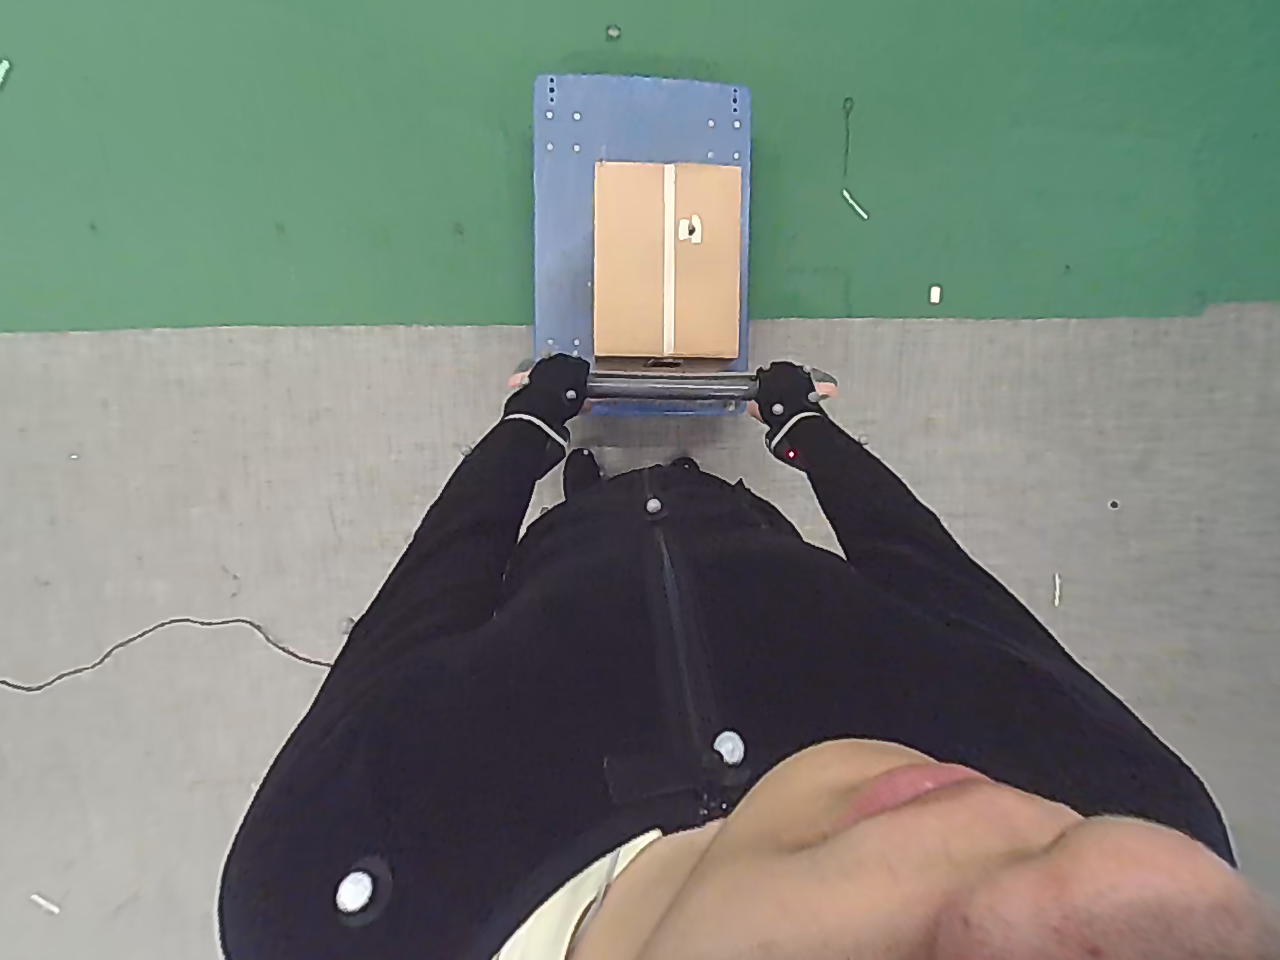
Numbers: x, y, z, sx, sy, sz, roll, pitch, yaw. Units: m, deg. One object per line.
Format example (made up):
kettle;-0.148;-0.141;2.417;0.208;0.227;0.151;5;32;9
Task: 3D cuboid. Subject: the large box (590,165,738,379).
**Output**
large box;0.043;-0.465;1.293;0.320;0.320;0.408;-1;92;-5
